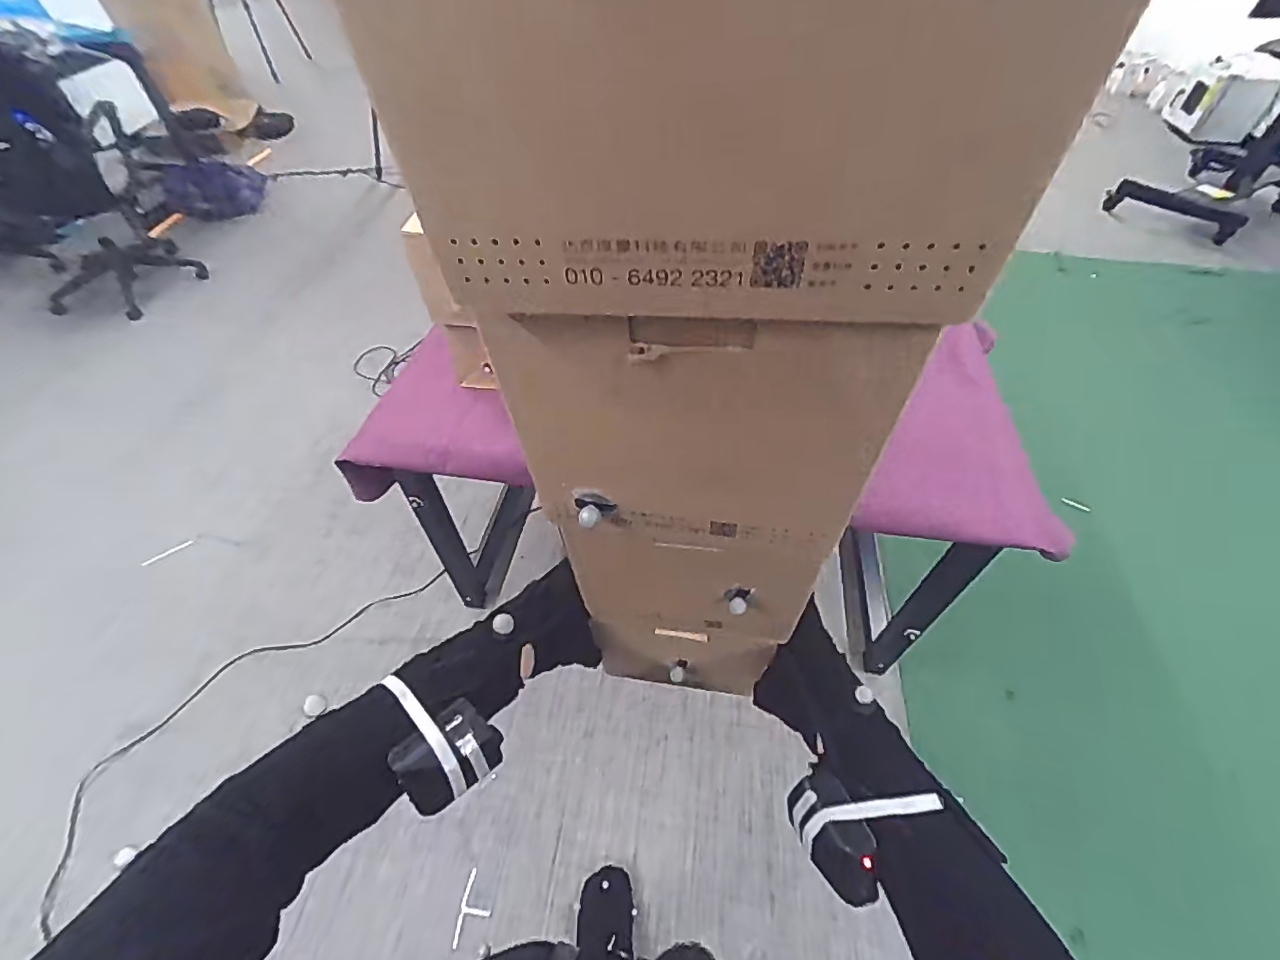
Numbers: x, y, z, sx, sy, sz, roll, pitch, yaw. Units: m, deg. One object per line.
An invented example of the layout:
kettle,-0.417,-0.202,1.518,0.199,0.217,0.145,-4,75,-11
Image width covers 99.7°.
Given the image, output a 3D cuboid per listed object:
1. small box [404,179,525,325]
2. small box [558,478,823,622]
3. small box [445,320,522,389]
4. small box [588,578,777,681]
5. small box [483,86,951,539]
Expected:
small box,-0.274,-0.391,0.937,0.168,0.176,0.179,6,52,4
small box,0.049,-0.006,0.420,0.168,0.176,0.179,6,55,8
small box,-0.272,-0.306,1.079,0.168,0.176,0.179,5,52,3
small box,0.051,0.099,0.570,0.168,0.176,0.179,3,54,7
small box,0.040,-0.086,0.297,0.168,0.176,0.179,7,55,7
